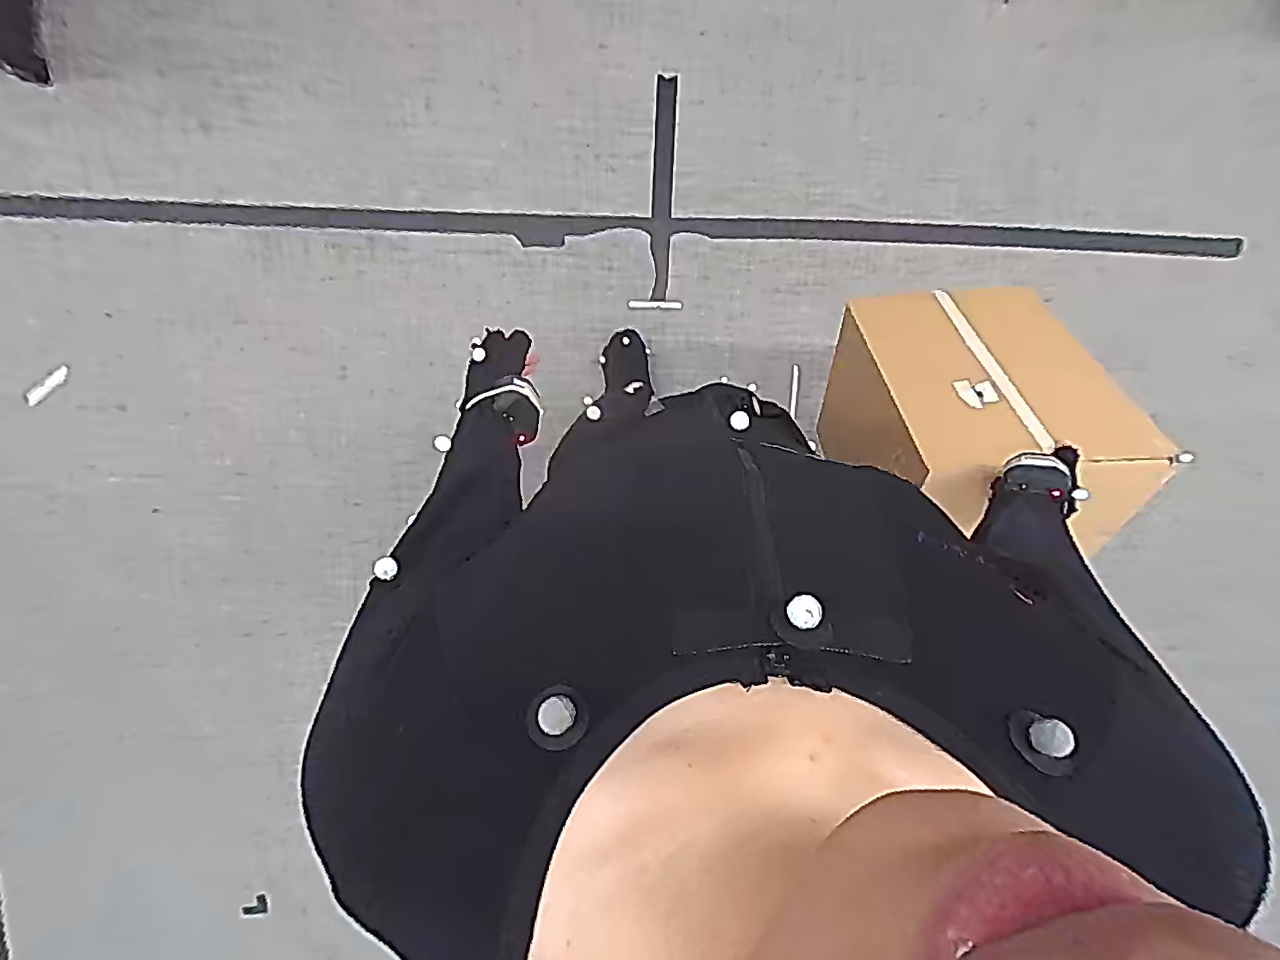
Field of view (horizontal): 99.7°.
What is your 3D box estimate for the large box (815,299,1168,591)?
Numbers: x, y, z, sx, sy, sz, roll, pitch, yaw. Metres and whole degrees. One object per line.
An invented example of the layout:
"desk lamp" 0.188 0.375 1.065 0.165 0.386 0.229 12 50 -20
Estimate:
"large box" 0.526 -0.063 0.933 0.320 0.408 0.320 -4 140 3
